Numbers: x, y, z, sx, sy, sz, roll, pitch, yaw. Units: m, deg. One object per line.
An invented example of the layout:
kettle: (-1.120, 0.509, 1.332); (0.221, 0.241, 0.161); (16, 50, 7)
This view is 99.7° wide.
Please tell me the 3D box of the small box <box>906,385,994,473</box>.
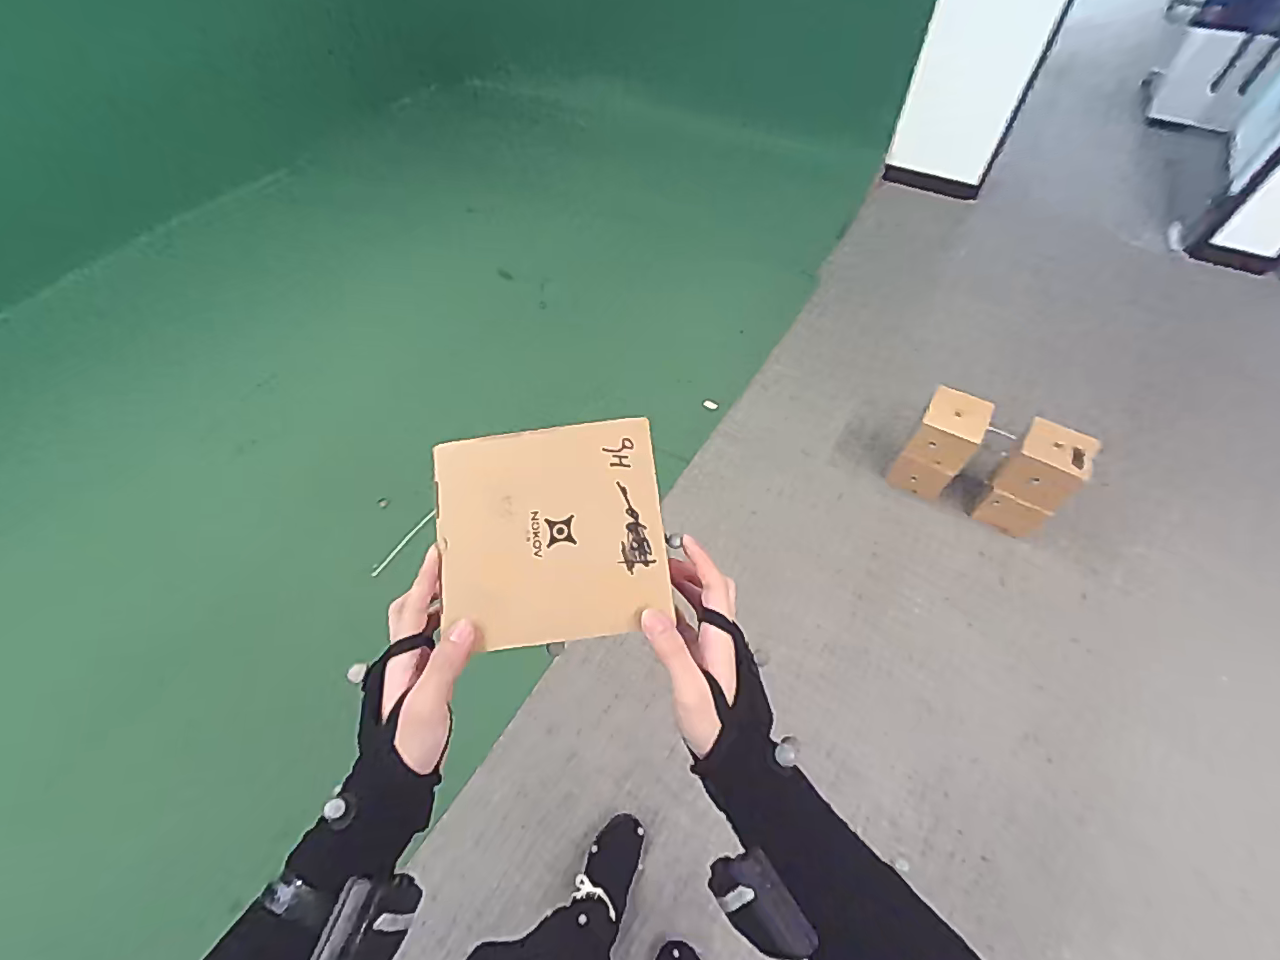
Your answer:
small box: (0.941, -0.152, 1.656); (0.168, 0.176, 0.179); (26, 61, 19)

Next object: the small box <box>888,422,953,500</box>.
small box: (0.948, -0.064, 1.792); (0.168, 0.176, 0.179); (29, 63, 20)

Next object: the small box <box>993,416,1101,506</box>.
small box: (1.177, -0.048, 1.572); (0.179, 0.176, 0.168); (29, 62, 21)
